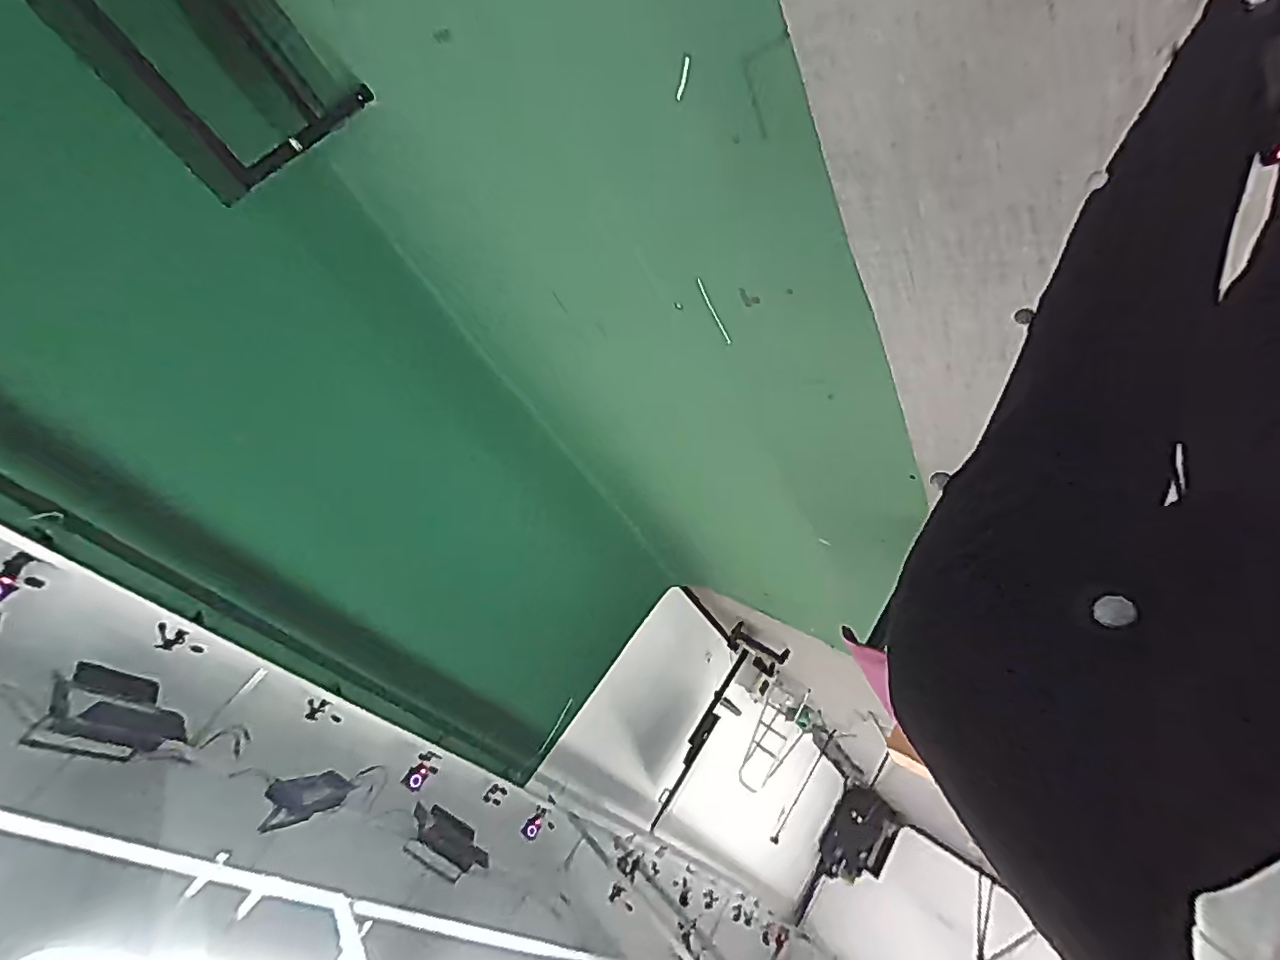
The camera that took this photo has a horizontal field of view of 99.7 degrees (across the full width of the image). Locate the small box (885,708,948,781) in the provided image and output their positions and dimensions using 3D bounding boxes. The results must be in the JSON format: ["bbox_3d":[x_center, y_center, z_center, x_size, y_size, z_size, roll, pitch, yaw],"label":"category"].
[{"bbox_3d":[1.099,1.043,2.140,0.168,0.176,0.179,14,149,46],"label":"small box"}]
